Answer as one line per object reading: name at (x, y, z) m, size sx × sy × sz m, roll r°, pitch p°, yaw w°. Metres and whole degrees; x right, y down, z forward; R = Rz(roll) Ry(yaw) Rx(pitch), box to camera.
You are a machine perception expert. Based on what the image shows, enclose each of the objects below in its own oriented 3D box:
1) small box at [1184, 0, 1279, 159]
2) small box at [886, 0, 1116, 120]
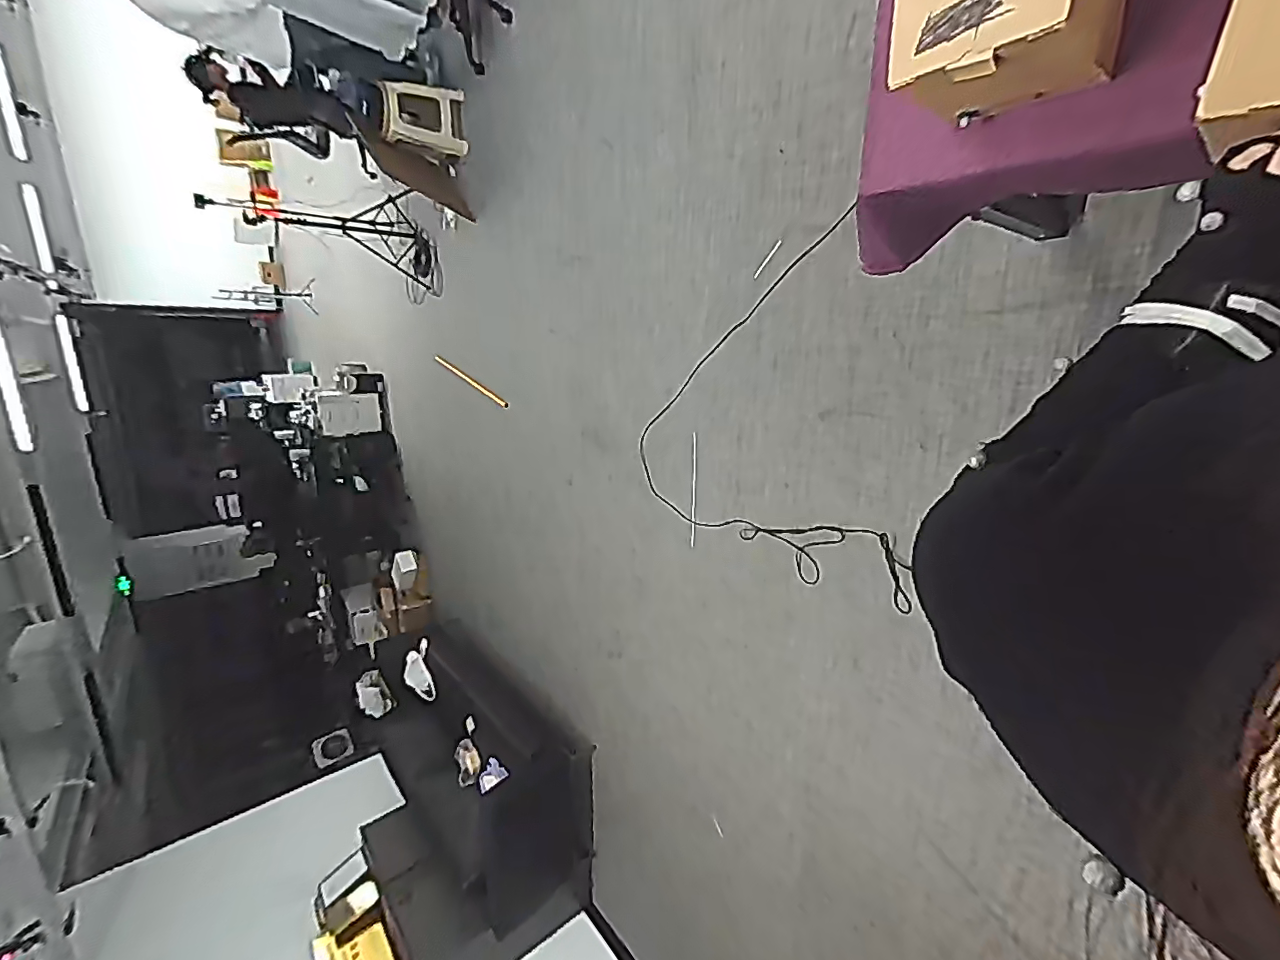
small box at (0.559, -0.357, 0.402) m, size 0.168 × 0.176 × 0.179 m, roll 24°, pitch 116°, yaw 45°
small box at (0.390, -0.513, 0.575) m, size 0.168 × 0.176 × 0.179 m, roll 16°, pitch 109°, yaw 48°
